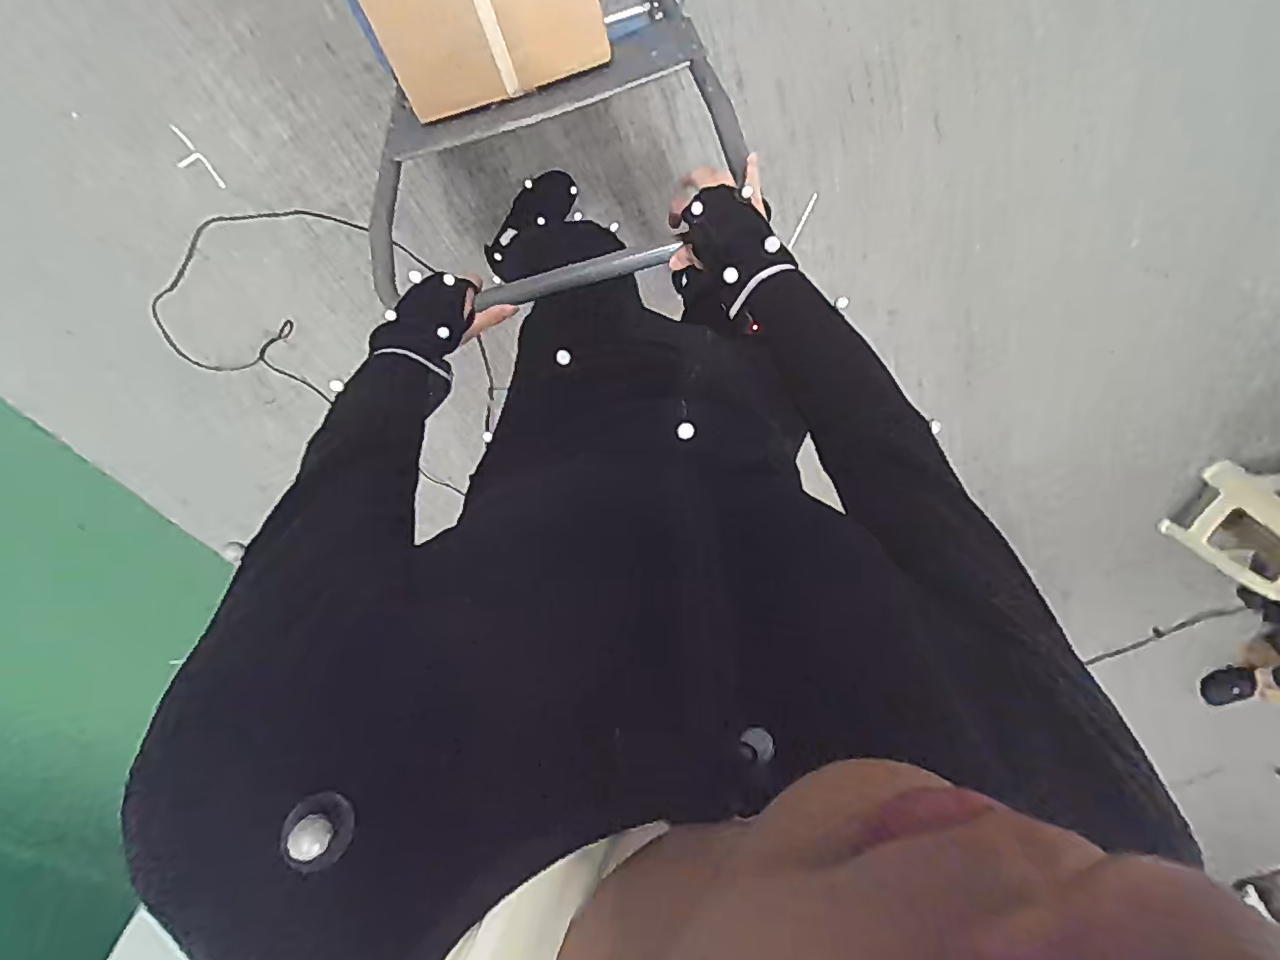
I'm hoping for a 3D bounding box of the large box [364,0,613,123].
[{"bbox_3d":[-0.250,-0.820,0.760,0.320,0.320,0.408,-15,143,6],"label":"large box"}]
